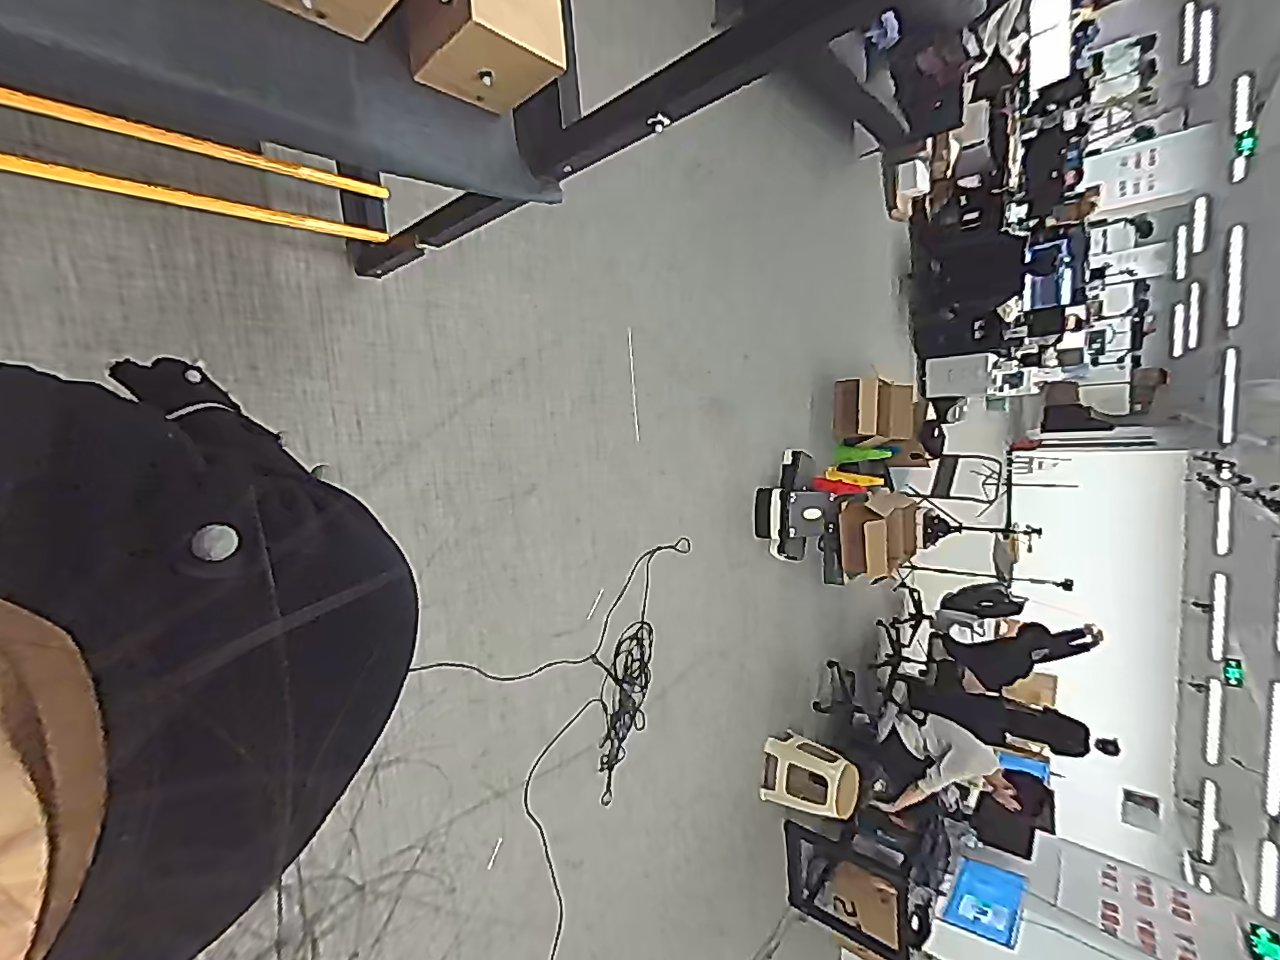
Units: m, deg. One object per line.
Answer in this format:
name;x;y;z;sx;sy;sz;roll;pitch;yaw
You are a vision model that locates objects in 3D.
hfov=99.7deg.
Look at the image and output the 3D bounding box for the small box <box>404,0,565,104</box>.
small box;-0.234;-0.704;0.801;0.168;0.176;0.179;-14;101;-48
